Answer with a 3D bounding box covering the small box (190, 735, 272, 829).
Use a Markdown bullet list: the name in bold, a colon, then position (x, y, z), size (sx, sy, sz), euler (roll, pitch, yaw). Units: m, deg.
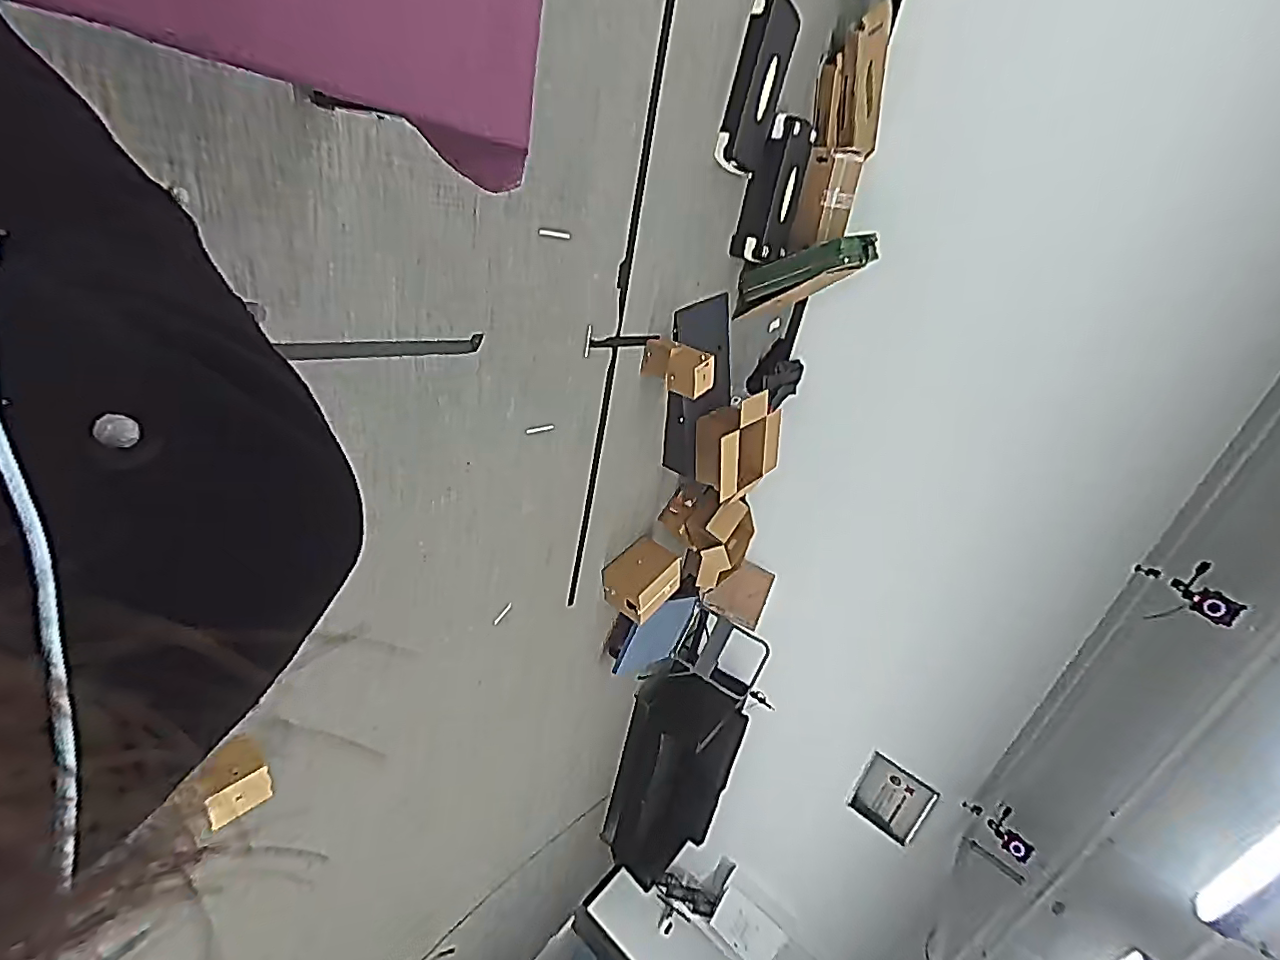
- **small box**: position (-1.393, 1.018, 1.835), size (0.179, 0.176, 0.168), euler (-23, 132, -49)
